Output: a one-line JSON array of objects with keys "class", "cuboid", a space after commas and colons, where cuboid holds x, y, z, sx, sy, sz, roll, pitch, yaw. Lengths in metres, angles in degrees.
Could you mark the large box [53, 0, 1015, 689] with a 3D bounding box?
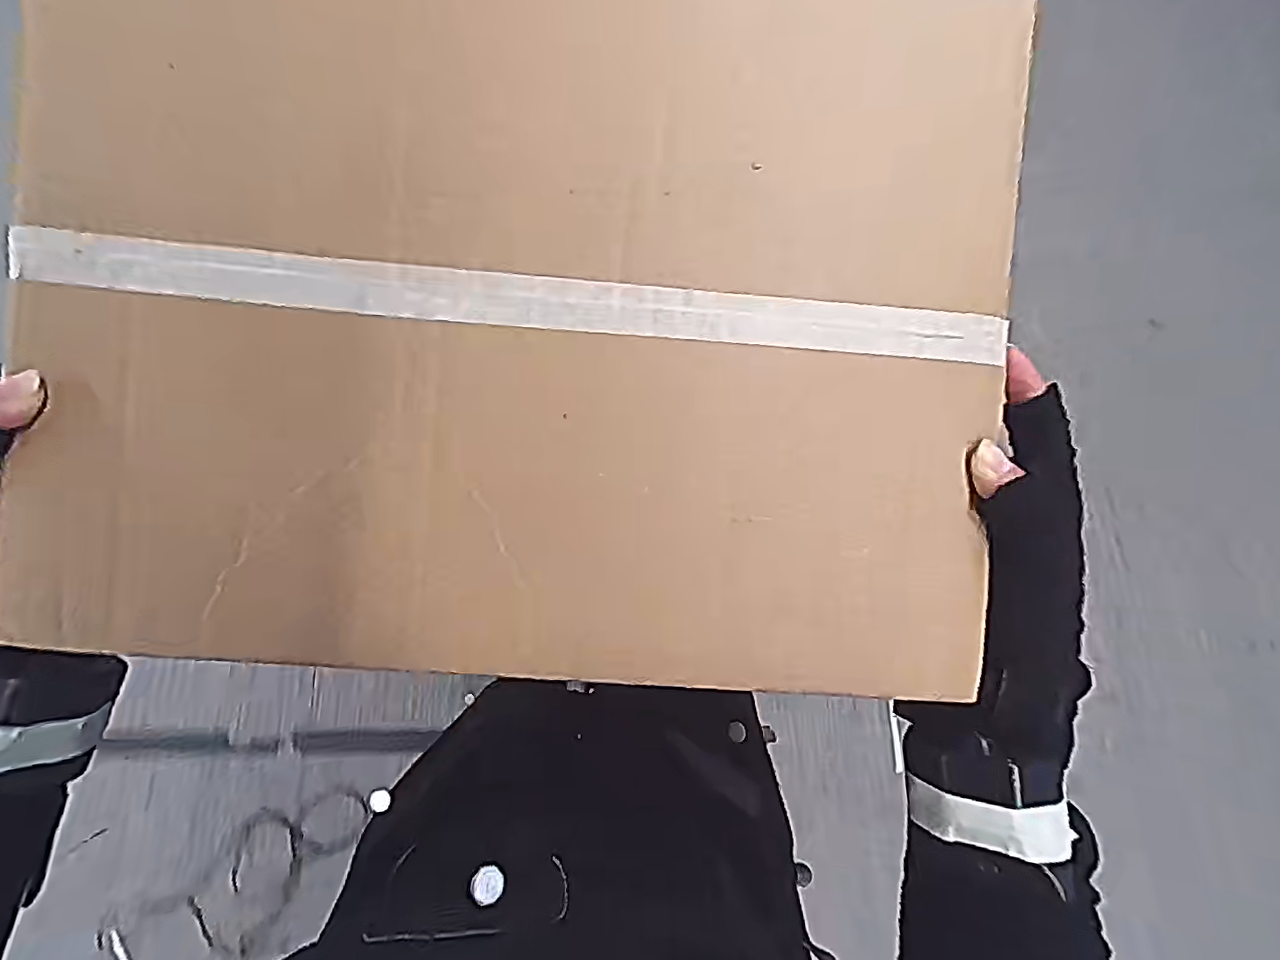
[{"class": "large box", "cuboid": [-0.046, -0.076, 0.386, 0.408, 0.320, 0.320, 6, 90, -3]}]
